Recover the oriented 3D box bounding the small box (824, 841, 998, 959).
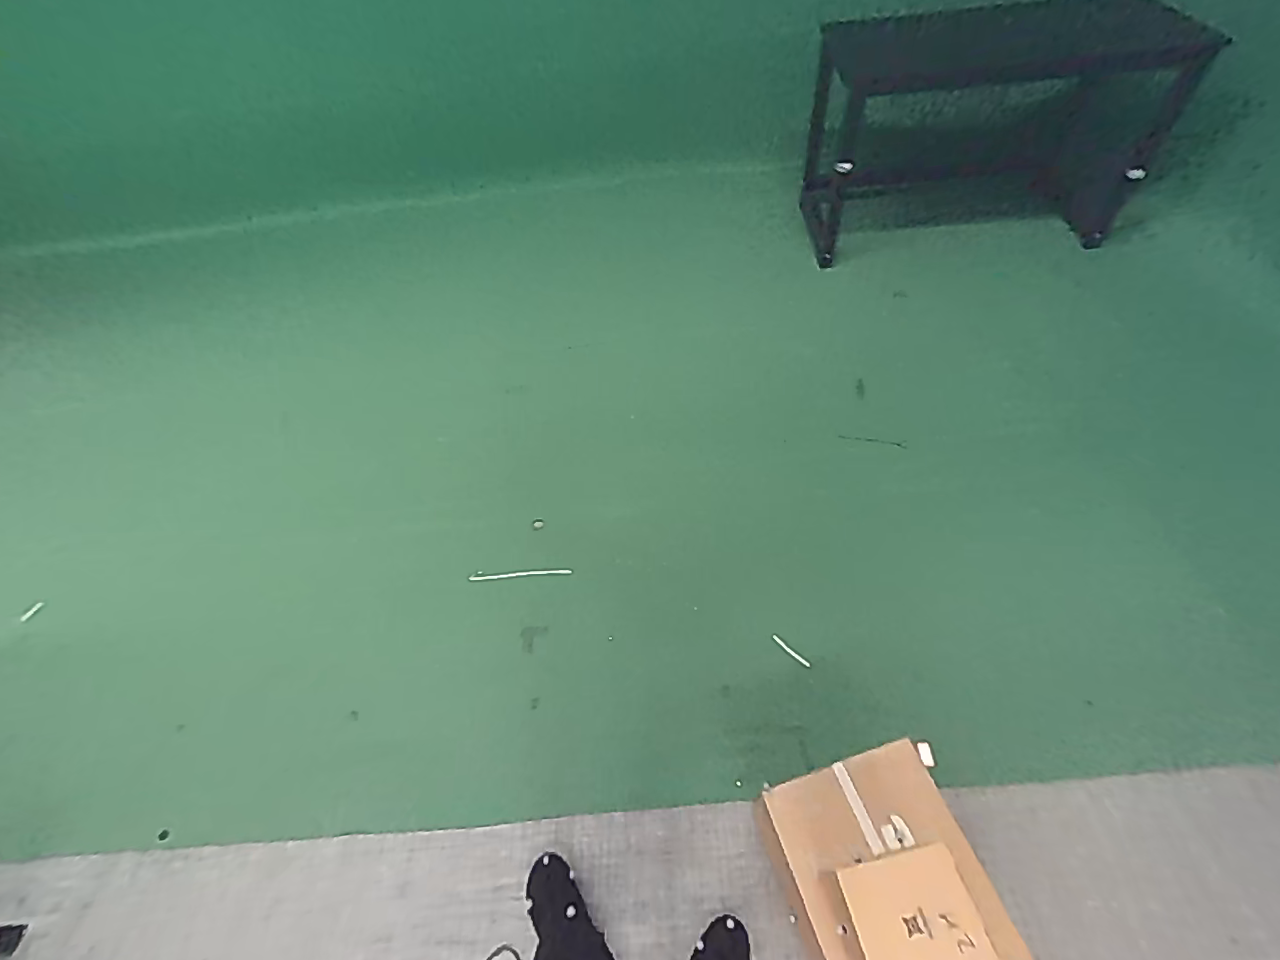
[{"bbox_3d":[0.394,0.667,0.819,0.179,0.176,0.168,-13,55,-3],"label":"small box"}]

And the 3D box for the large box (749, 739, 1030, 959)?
[{"bbox_3d":[0.439,0.784,1.036,0.320,0.320,0.408,-16,53,-7],"label":"large box"}]
